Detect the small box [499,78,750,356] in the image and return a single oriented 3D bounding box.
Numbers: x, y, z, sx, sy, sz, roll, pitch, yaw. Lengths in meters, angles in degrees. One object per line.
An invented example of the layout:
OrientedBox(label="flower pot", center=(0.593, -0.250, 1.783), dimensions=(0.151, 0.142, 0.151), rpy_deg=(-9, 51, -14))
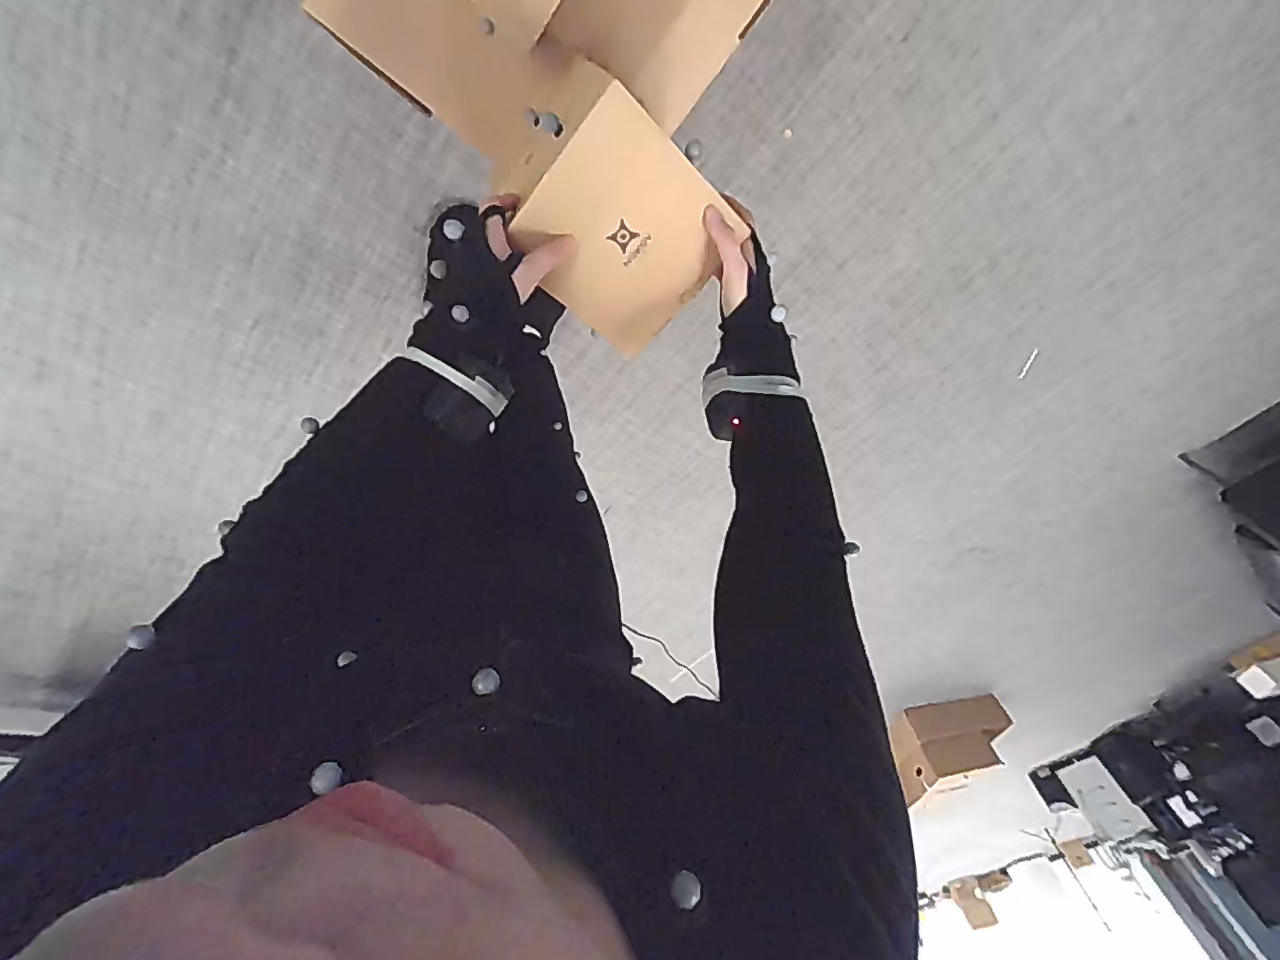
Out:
OrientedBox(label="small box", center=(-0.027, -0.266, 0.548), dimensions=(0.179, 0.176, 0.168), rpy_deg=(30, 117, -35))

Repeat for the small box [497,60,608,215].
OrientedBox(label="small box", center=(-0.064, -0.374, 0.668), dimensions=(0.168, 0.176, 0.179), rpy_deg=(29, 118, -34))
